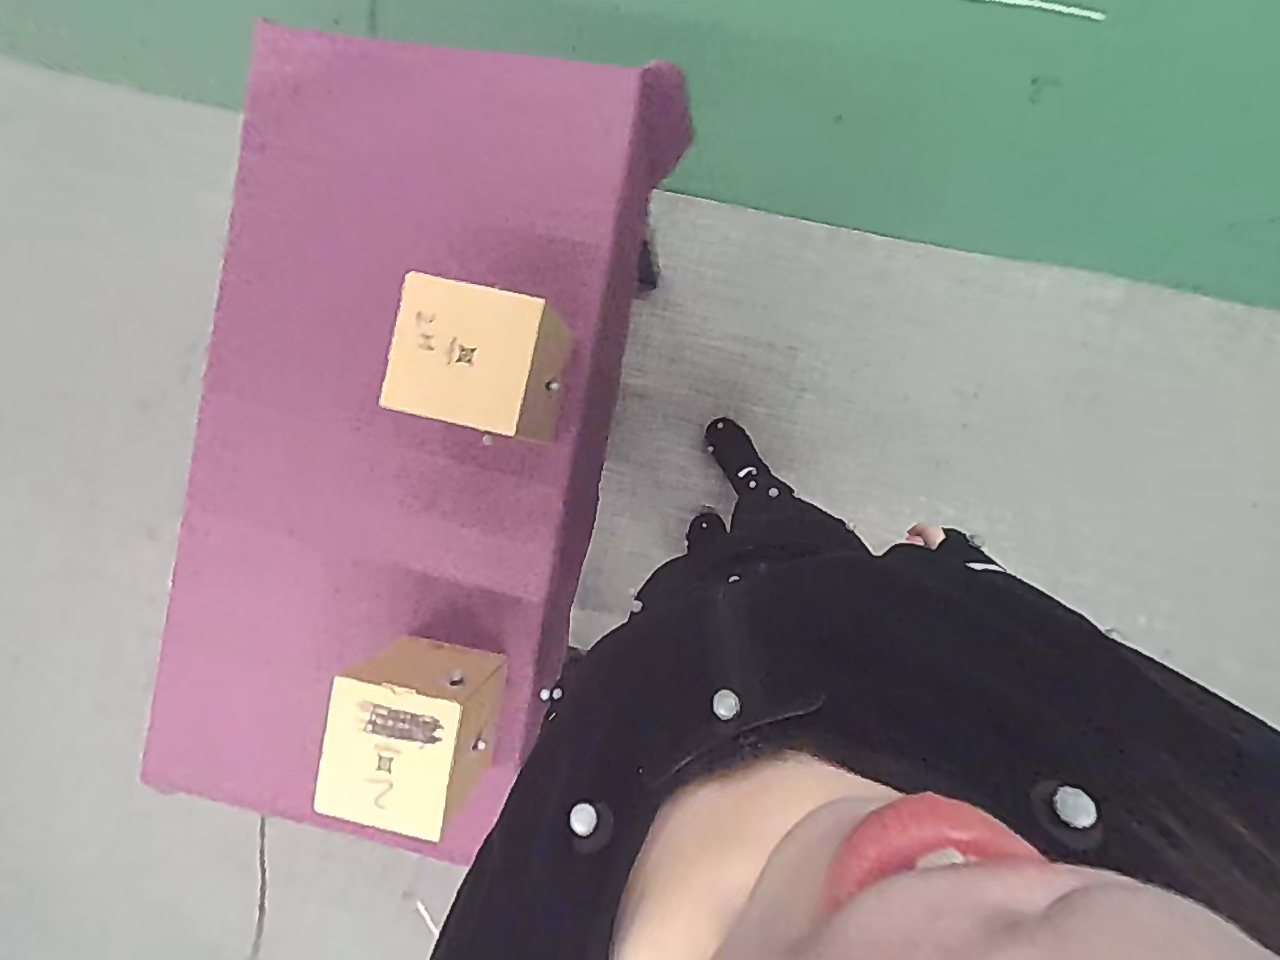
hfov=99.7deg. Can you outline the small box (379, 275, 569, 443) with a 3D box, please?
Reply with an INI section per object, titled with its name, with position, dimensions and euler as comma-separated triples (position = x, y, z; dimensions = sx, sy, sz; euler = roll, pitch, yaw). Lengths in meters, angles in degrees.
[small box]
position = -0.206, -0.147, 0.720
dimensions = 0.179, 0.176, 0.168
euler = 13, 91, 5
